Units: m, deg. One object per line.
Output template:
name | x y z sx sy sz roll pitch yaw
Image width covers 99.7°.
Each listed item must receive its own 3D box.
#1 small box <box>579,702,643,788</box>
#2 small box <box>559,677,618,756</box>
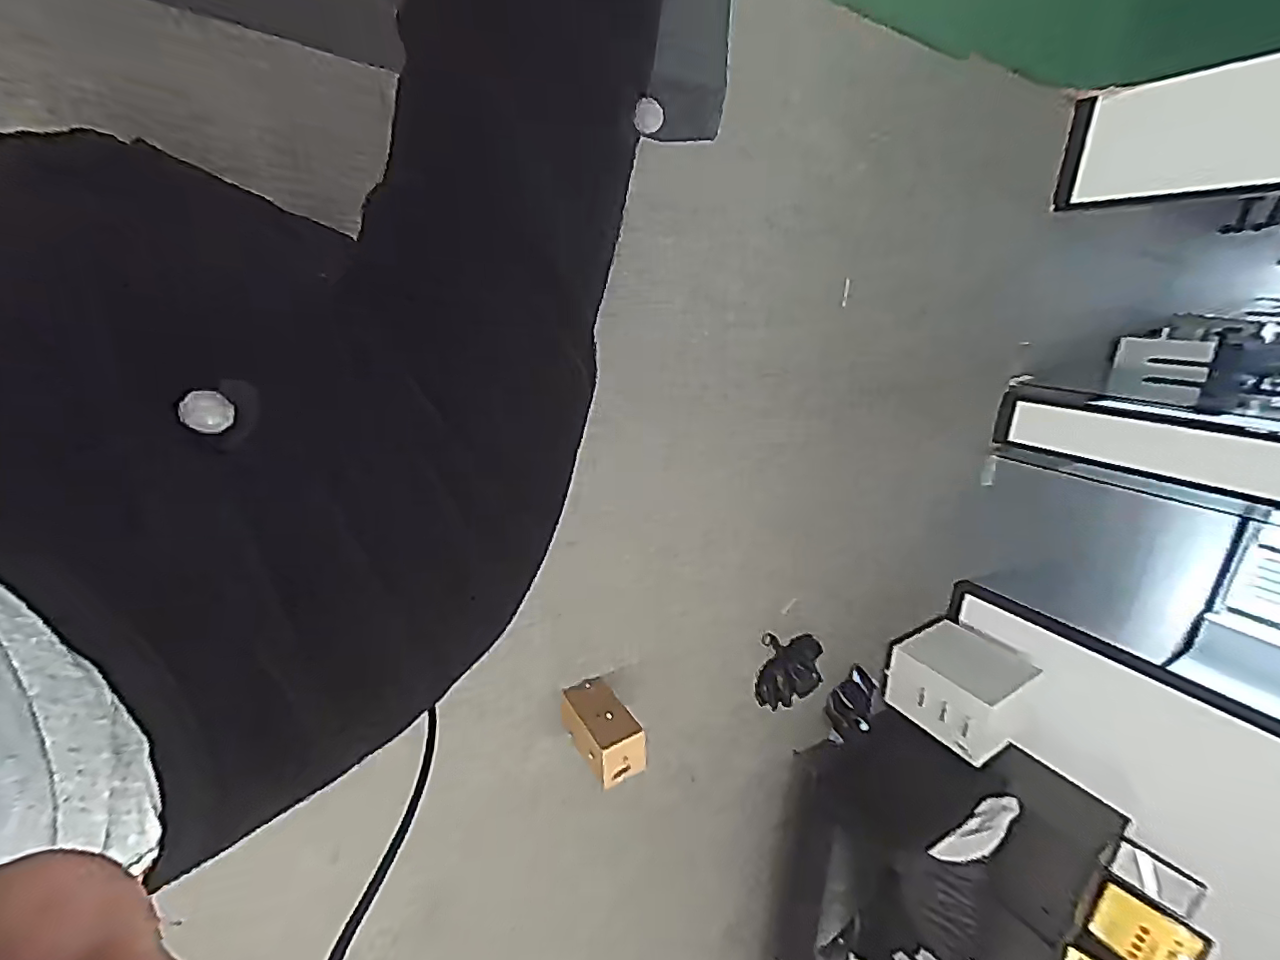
small box | -0.101 0.921 1.894 0.168 0.176 0.179 -15 114 -30
small box | -0.191 0.880 2.026 0.168 0.176 0.179 -14 113 -30
